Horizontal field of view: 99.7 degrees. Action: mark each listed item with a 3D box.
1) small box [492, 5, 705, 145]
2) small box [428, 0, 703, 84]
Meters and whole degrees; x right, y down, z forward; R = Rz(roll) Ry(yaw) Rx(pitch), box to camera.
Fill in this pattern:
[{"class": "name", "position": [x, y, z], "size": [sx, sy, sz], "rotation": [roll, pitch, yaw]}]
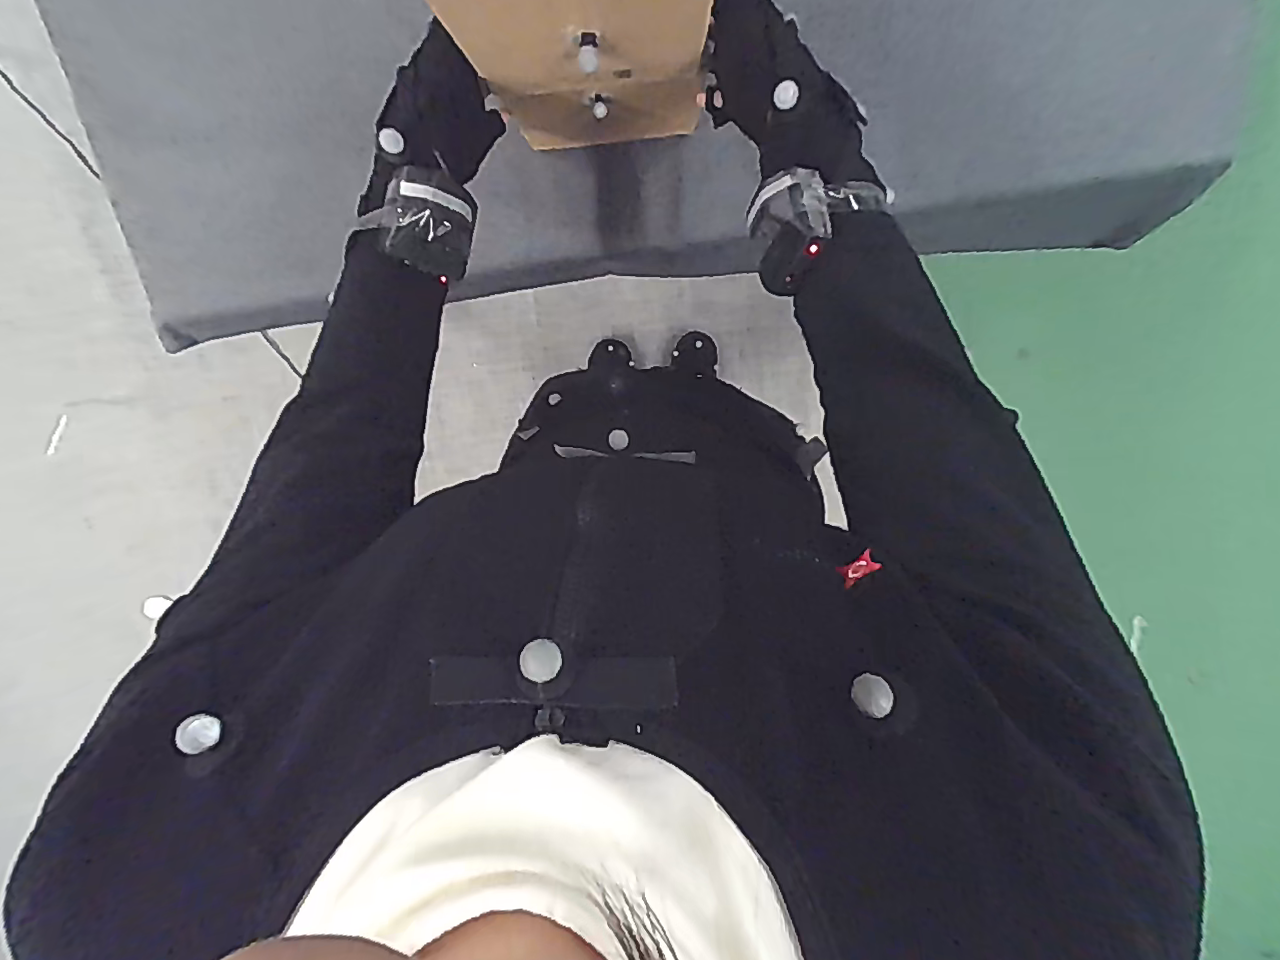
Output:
[{"class": "small box", "position": [-0.039, -0.427, 0.493], "size": [0.179, 0.176, 0.168], "rotation": [-6, 107, 2]}, {"class": "small box", "position": [-0.045, -0.378, 0.337], "size": [0.168, 0.176, 0.179], "rotation": [-5, 107, 2]}]
